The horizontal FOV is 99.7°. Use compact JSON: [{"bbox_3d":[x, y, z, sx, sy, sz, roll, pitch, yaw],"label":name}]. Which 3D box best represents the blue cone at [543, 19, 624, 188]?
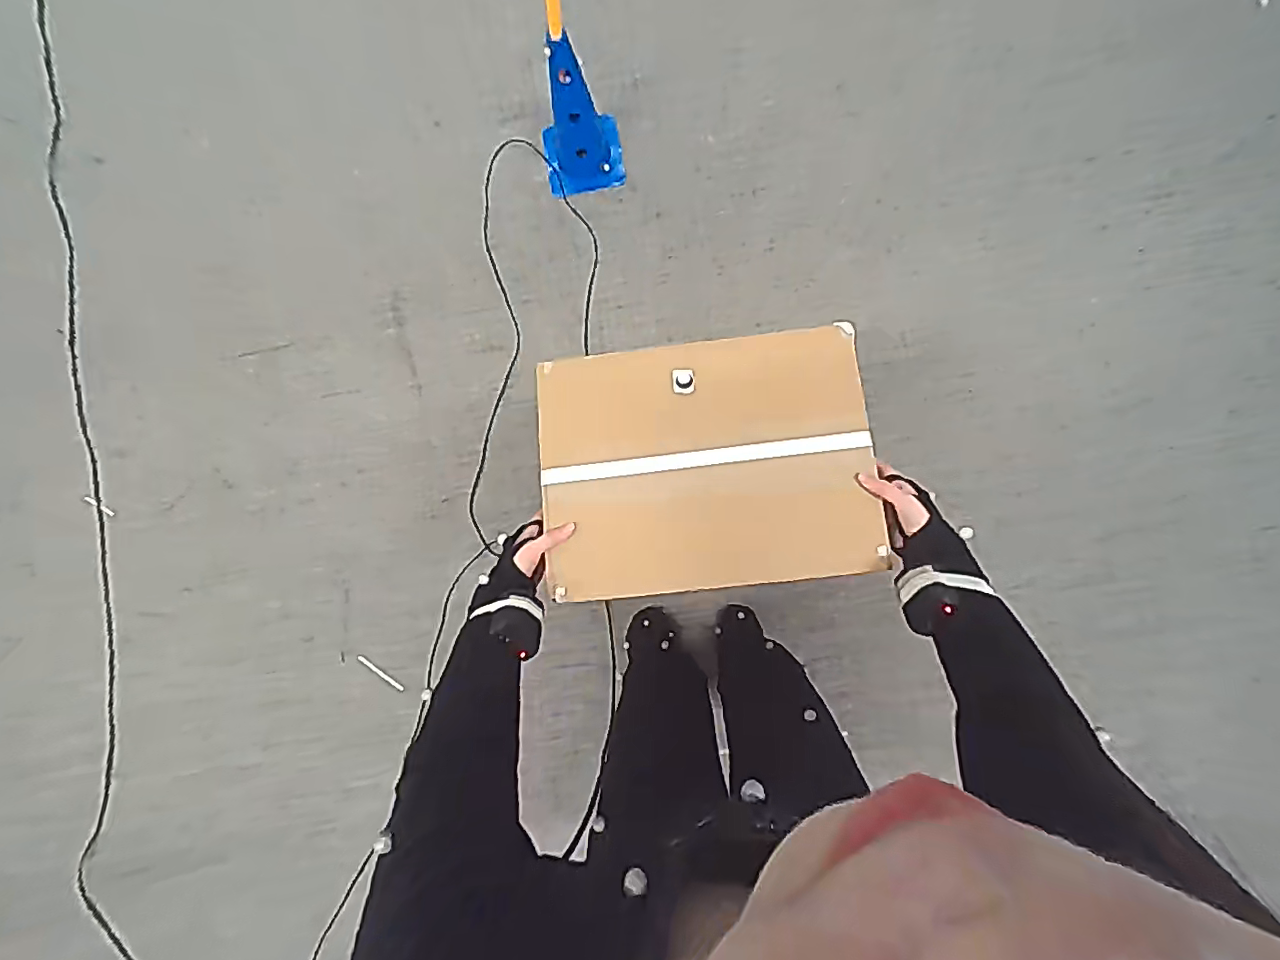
[{"bbox_3d":[-0.153,-0.870,1.229,0.193,0.380,0.192,-12,85,1],"label":"blue cone"}]
